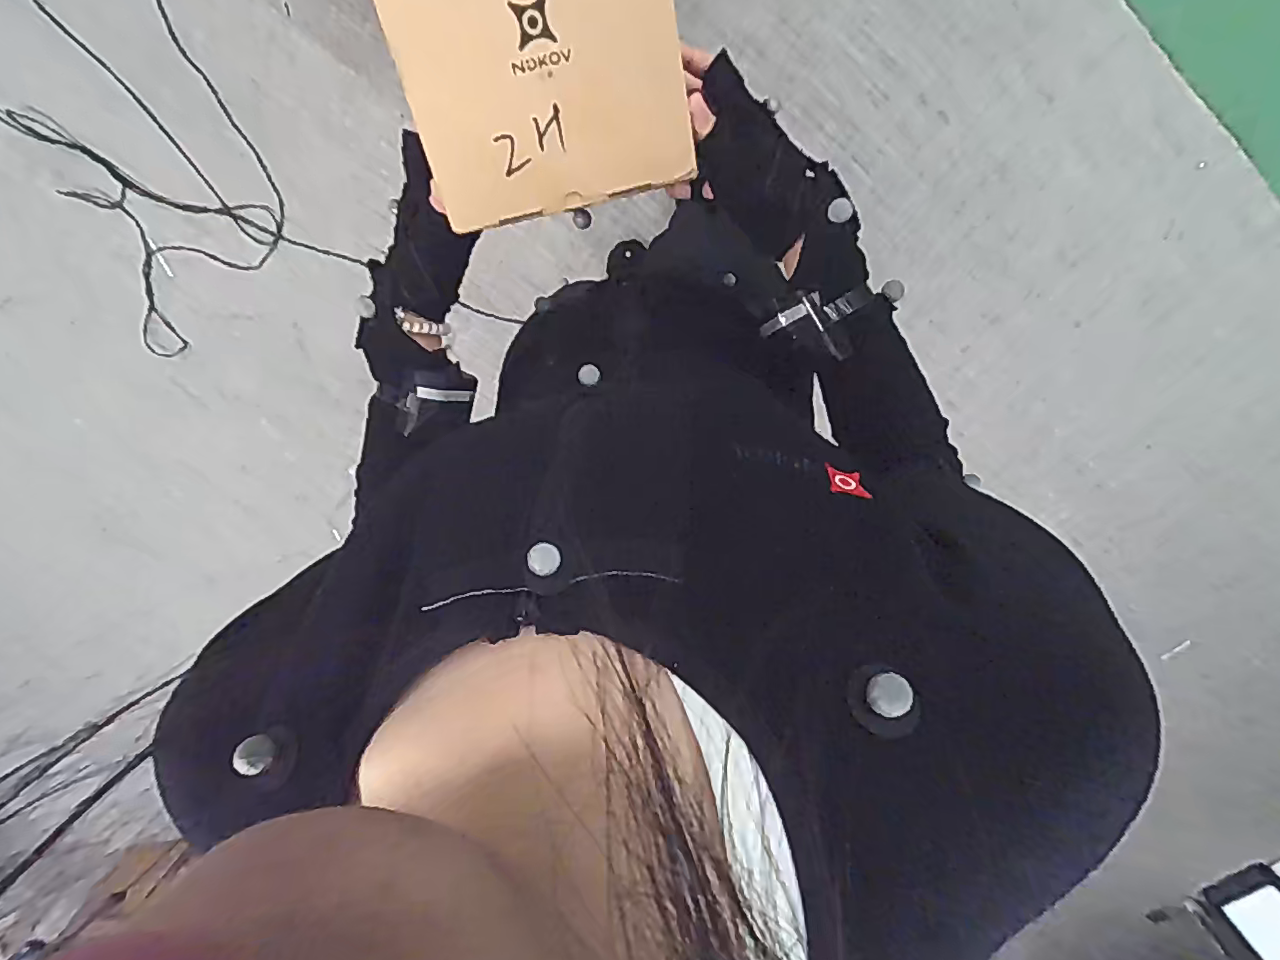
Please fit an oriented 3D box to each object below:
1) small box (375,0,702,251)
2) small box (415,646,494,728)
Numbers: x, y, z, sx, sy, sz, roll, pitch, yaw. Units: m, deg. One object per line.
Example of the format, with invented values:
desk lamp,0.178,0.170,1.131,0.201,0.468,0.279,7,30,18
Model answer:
small box,-0.062,-0.274,0.382,0.168,0.176,0.179,-13,117,2
small box,-0.624,0.695,1.834,0.179,0.176,0.168,32,112,-15
